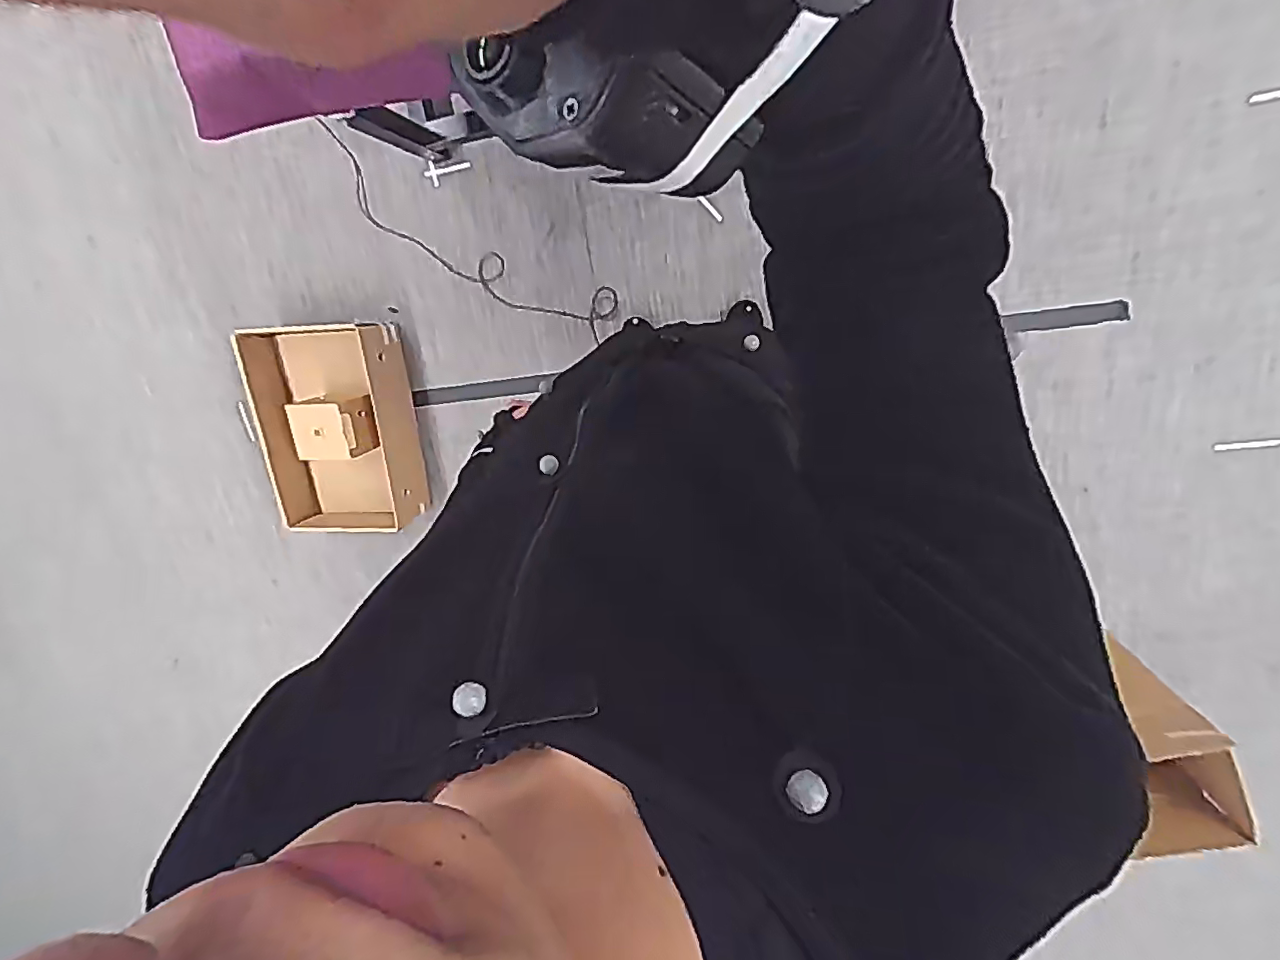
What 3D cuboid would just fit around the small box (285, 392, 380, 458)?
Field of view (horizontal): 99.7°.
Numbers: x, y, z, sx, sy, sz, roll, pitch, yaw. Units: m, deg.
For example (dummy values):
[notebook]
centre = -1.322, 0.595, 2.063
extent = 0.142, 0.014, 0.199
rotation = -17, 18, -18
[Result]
[small box]
centre = -0.907, -0.167, 1.619
extent = 0.179, 0.176, 0.168
rotation = 0, 109, 9
